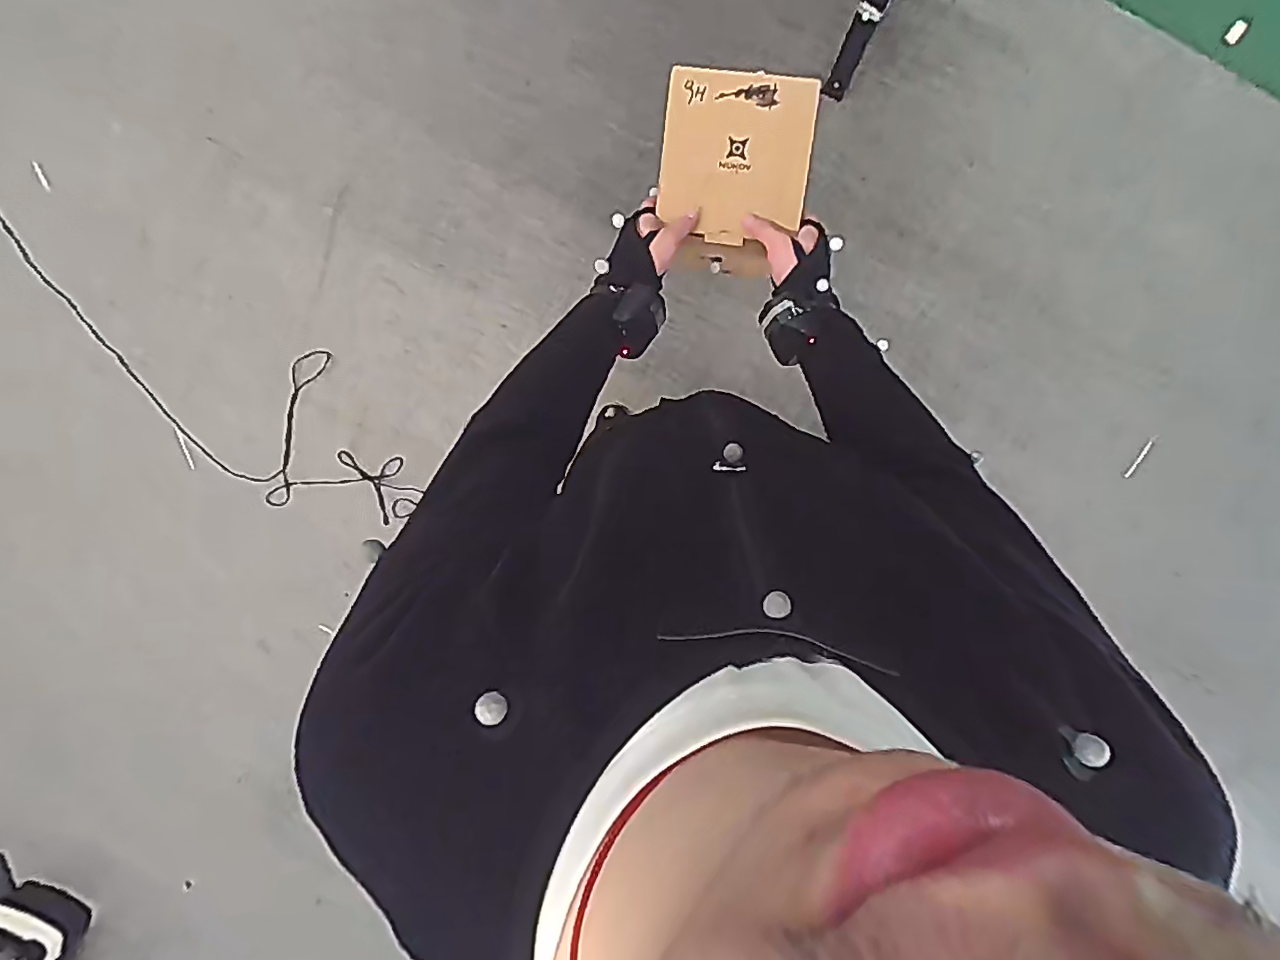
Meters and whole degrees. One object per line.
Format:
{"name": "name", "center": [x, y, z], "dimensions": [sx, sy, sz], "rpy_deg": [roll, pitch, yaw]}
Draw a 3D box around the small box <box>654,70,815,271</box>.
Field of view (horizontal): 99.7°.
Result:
{"name": "small box", "center": [0.110, -0.374, 0.685], "dimensions": [0.168, 0.176, 0.179], "rpy_deg": [4, 98, 3]}
